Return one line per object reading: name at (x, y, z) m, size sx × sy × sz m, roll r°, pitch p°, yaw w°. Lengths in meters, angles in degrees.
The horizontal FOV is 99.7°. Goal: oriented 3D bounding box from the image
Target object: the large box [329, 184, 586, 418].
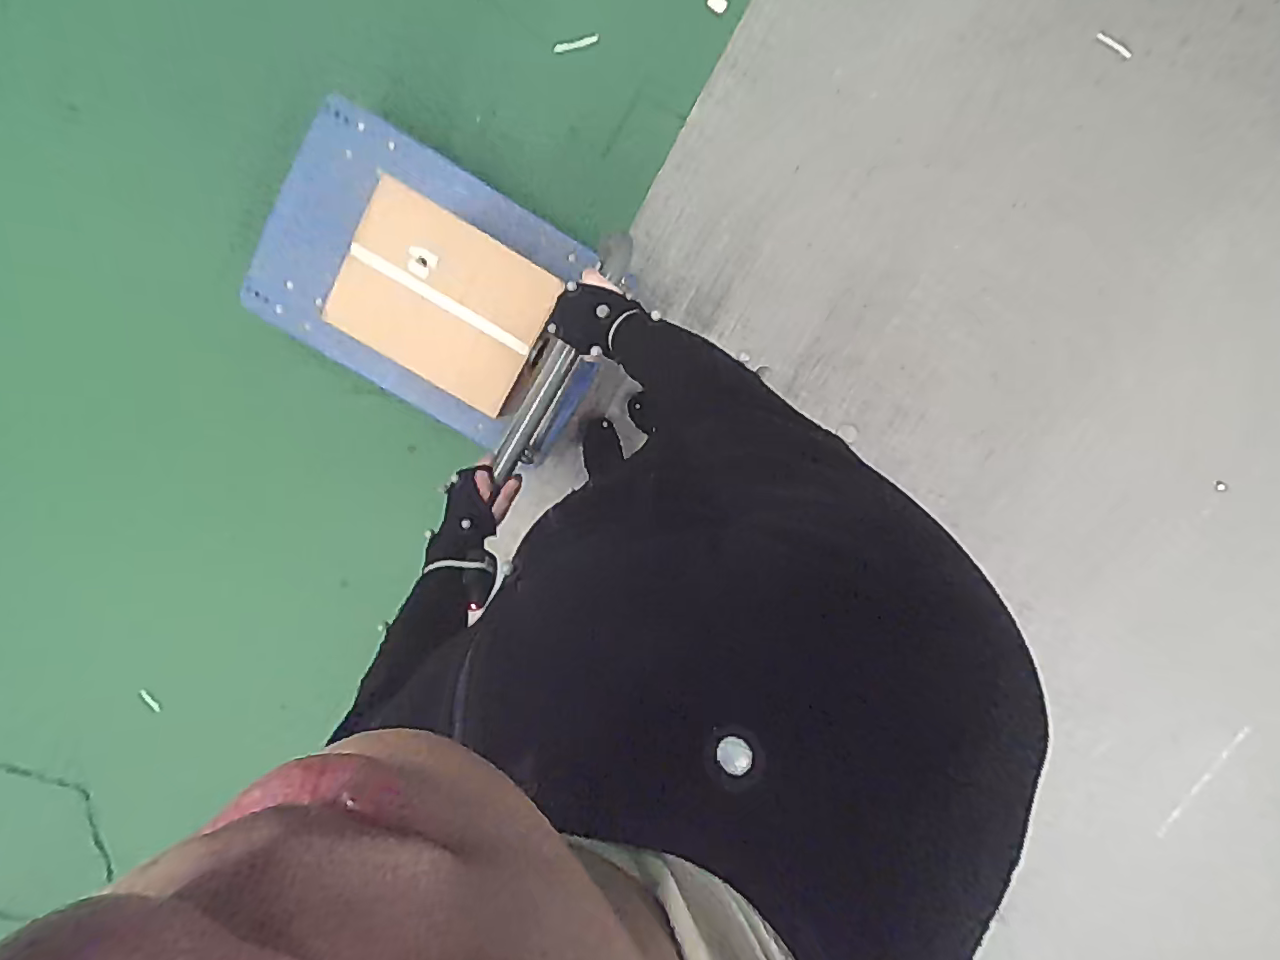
large box at (-0.383, -0.379, 1.232) m, size 0.408 × 0.320 × 0.320 m, roll 31°, pitch 100°, yaw -4°
